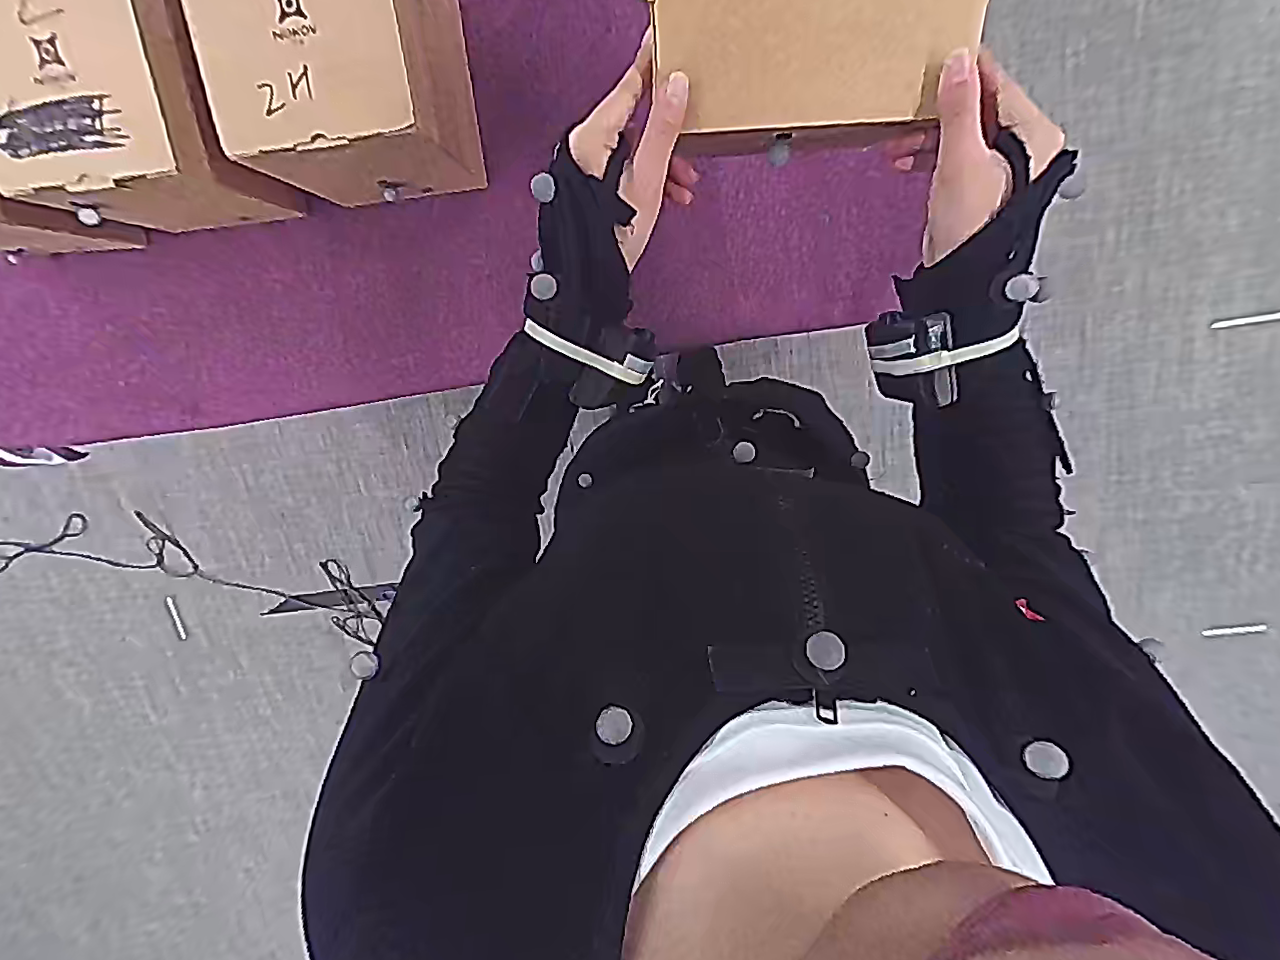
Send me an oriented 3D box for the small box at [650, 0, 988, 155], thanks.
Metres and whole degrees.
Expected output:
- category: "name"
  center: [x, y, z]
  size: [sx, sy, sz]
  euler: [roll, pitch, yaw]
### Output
- category: "small box"
  center: [0.096, -0.310, 0.341]
  size: [0.179, 0.176, 0.168]
  euler: [0, 116, 5]
